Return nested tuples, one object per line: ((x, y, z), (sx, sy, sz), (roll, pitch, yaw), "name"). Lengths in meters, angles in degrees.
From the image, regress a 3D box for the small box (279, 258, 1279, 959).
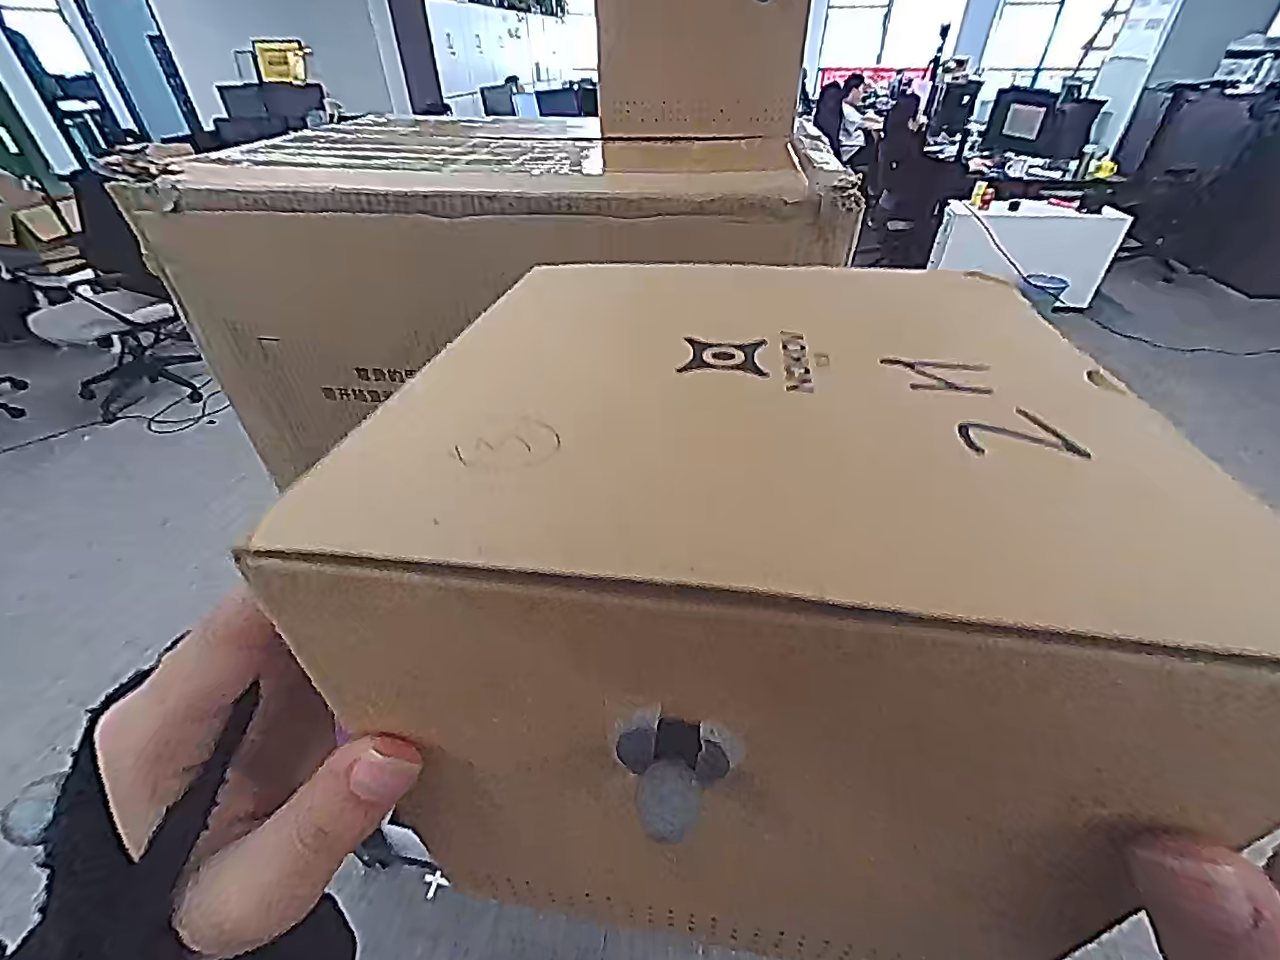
((0.037, 0.032, 0.188), (0.179, 0.176, 0.168), (5, 38, 9), "small box")
